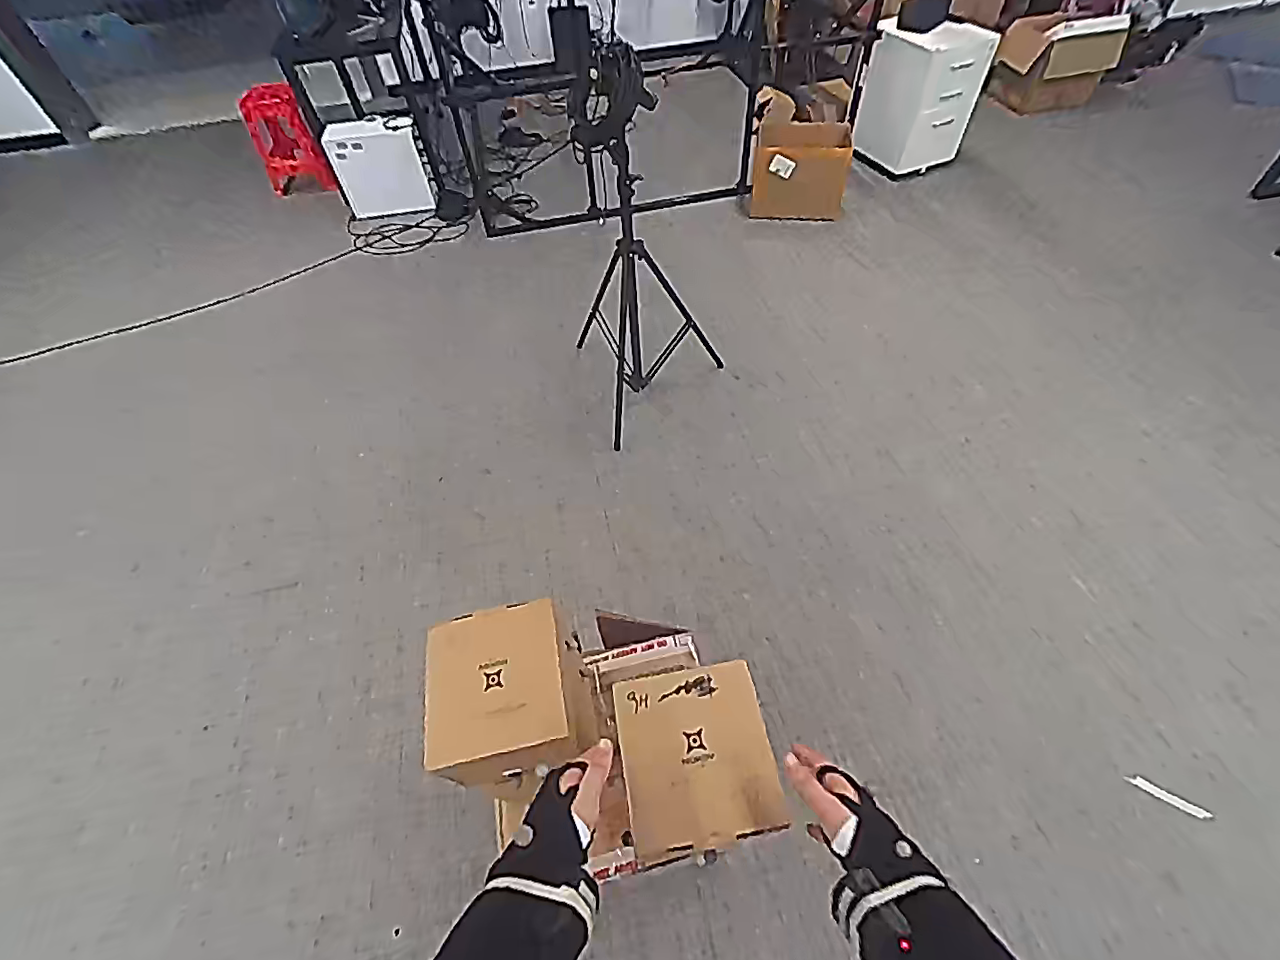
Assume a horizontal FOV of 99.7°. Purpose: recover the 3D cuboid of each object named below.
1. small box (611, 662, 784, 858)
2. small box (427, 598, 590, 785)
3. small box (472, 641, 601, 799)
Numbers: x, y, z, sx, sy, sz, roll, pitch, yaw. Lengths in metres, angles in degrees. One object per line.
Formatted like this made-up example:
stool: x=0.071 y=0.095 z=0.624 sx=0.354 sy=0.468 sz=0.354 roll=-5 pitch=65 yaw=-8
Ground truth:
small box: x=0.061 y=0.346 z=0.666 sx=0.168 sy=0.176 sz=0.179 roll=-9 pitch=55 yaw=-4
small box: x=-0.170 y=0.285 z=0.723 sx=0.168 sy=0.176 sz=0.179 roll=-13 pitch=55 yaw=-3
small box: x=-0.162 y=0.381 z=0.855 sx=0.168 sy=0.176 sz=0.179 roll=-13 pitch=55 yaw=-4
